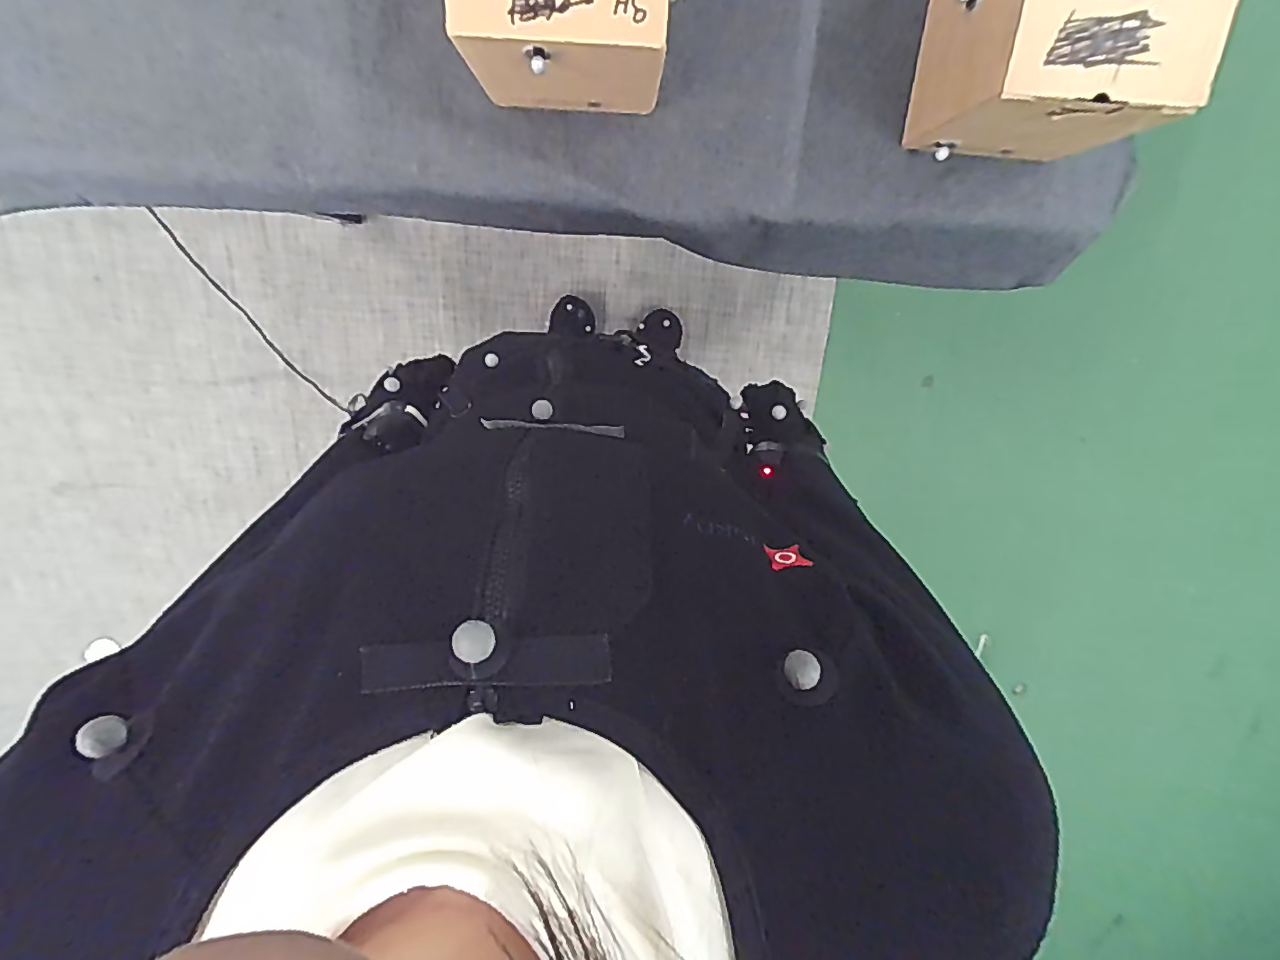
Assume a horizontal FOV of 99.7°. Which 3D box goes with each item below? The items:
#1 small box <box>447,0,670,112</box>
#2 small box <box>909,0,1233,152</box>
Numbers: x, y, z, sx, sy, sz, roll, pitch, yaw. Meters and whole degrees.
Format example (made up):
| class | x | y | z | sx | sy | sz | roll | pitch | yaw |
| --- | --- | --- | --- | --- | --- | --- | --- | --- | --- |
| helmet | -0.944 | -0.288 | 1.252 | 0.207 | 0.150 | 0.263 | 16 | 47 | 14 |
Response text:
| class | x | y | z | sx | sy | sz | roll | pitch | yaw |
| --- | --- | --- | --- | --- | --- | --- | --- | --- | --- |
| small box | -0.060 | -0.441 | 0.452 | 0.168 | 0.176 | 0.179 | 2 | 109 | -3 |
| small box | 0.366 | -0.409 | 0.476 | 0.168 | 0.176 | 0.179 | 3 | 108 | -2 |
